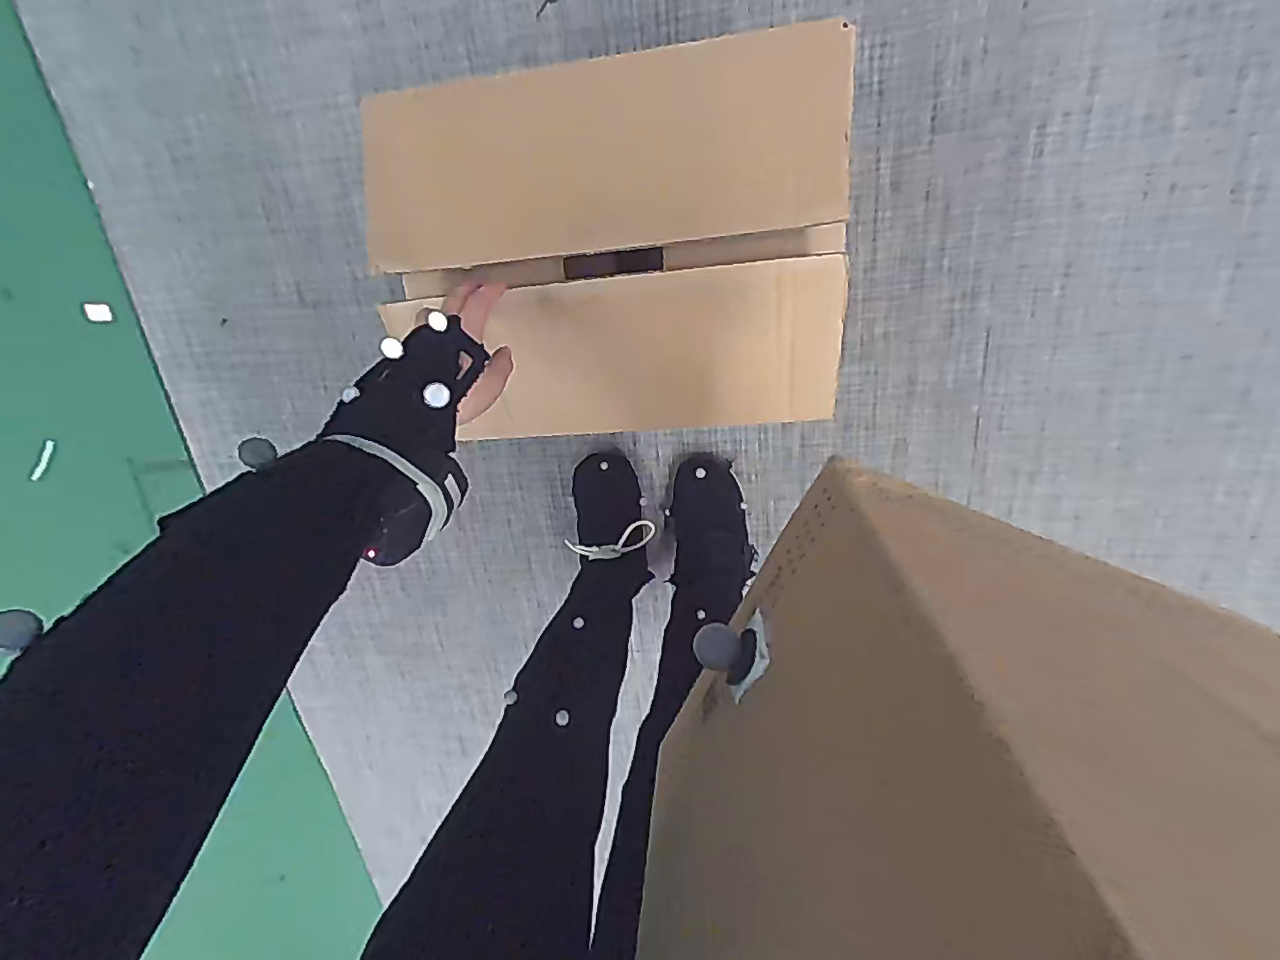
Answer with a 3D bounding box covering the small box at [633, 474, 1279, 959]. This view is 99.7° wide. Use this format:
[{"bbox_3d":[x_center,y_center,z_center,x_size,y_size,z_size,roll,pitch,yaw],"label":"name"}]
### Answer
[{"bbox_3d":[0.106,0.118,0.162,0.179,0.176,0.168,22,112,-1],"label":"small box"}]
